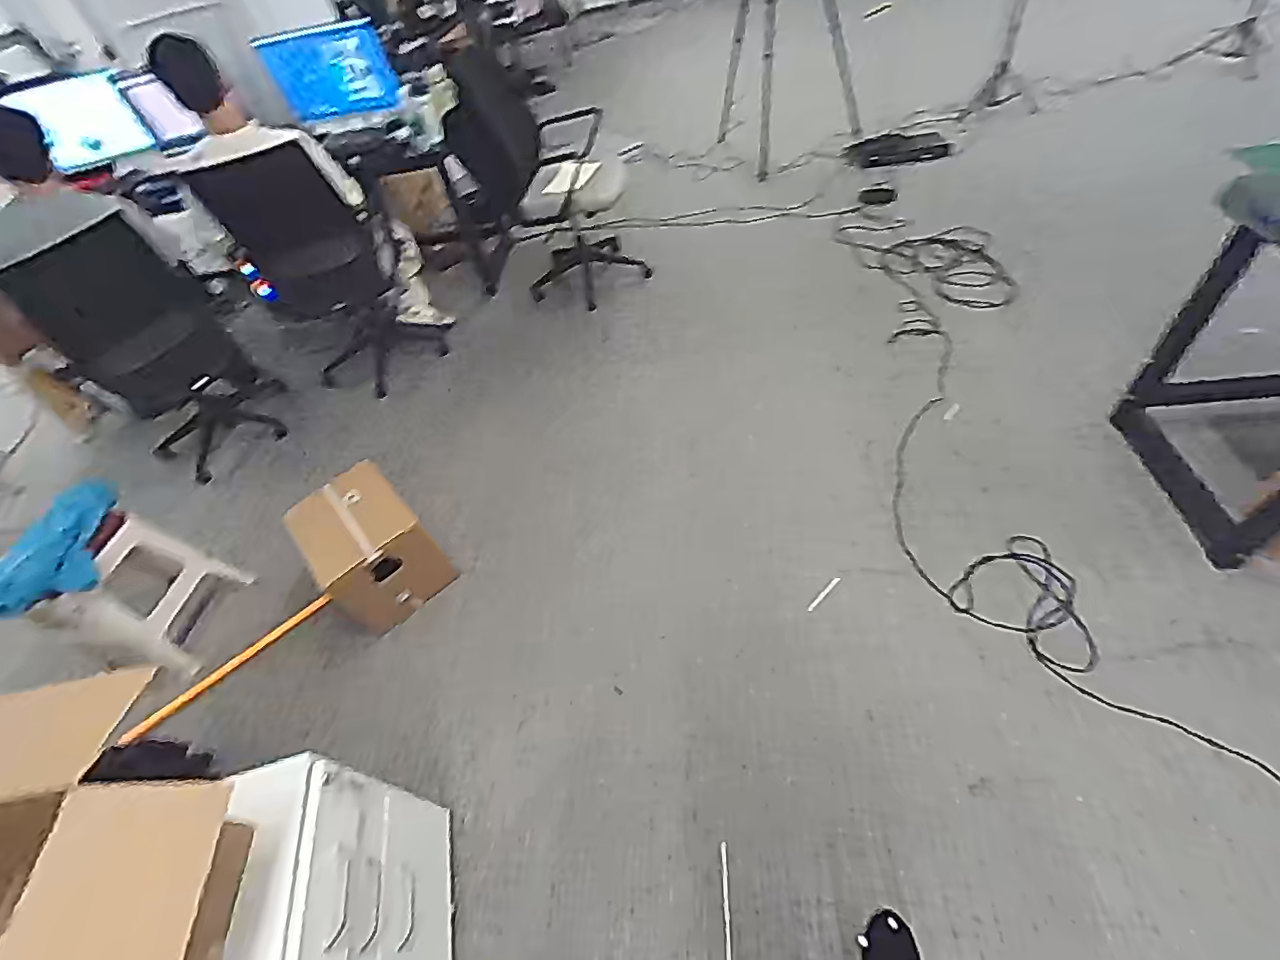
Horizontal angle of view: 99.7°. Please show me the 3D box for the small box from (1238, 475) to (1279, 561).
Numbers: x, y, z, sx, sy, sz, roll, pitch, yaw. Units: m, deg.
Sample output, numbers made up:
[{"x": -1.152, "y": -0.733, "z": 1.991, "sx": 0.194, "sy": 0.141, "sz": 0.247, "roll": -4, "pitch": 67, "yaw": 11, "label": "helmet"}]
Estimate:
[{"x": 1.727, "y": 0.104, "z": 1.389, "sx": 0.168, "sy": 0.176, "sz": 0.179, "roll": -1, "pitch": 50, "yaw": 13, "label": "small box"}]
